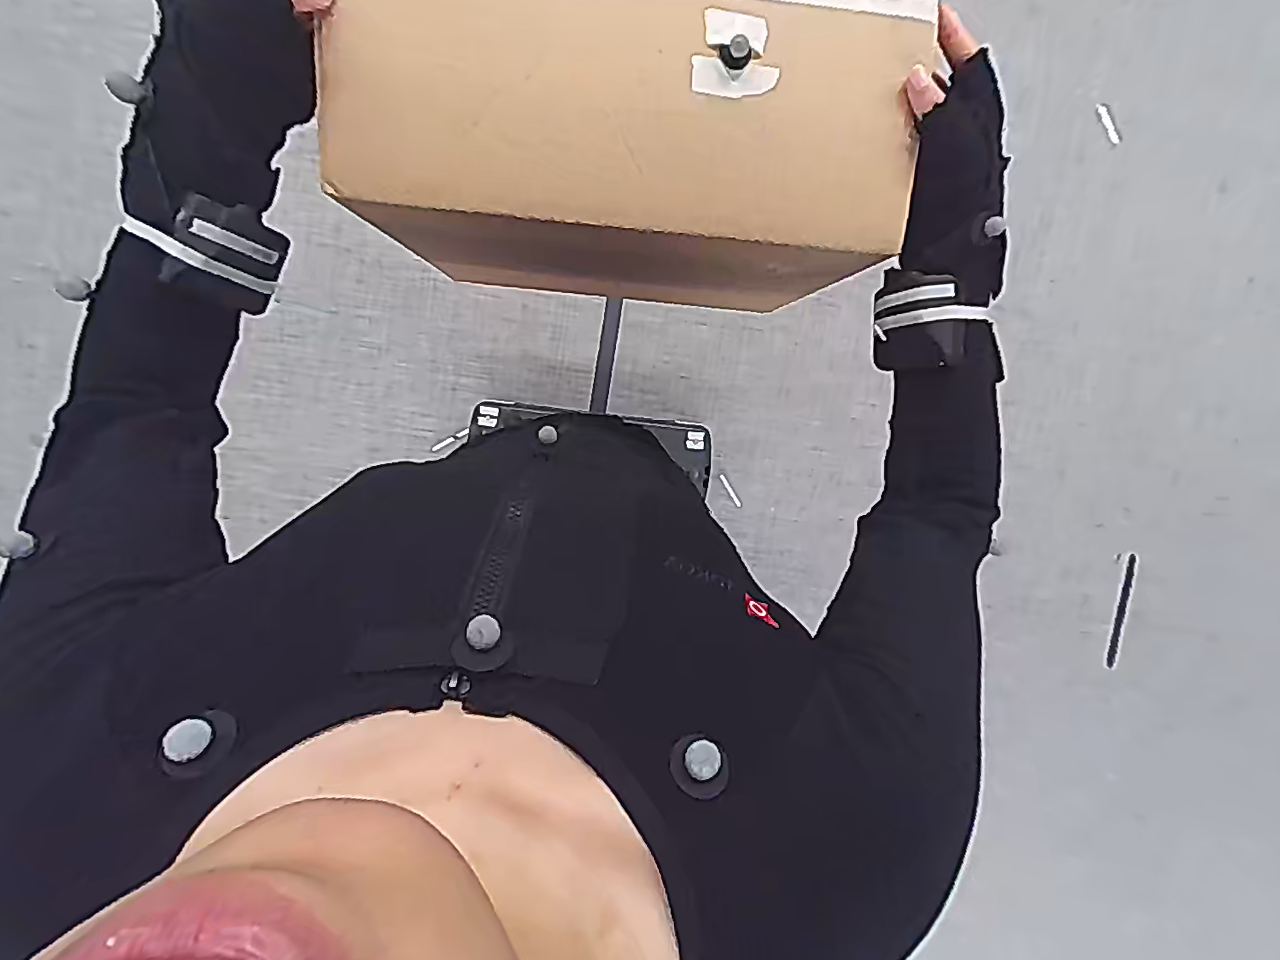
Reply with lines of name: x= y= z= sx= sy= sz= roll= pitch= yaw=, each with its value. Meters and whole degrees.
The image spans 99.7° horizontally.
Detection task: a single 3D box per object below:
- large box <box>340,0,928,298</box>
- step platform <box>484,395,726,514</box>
large box: x=-0.008 y=-0.366 z=0.508 sx=0.408 sy=0.320 sz=0.320 roll=3 pitch=101 yaw=-5
step platform: x=-0.098 y=-0.074 z=1.568 sx=0.684 sy=0.204 sz=0.286 roll=5 pitch=97 yaw=-5
